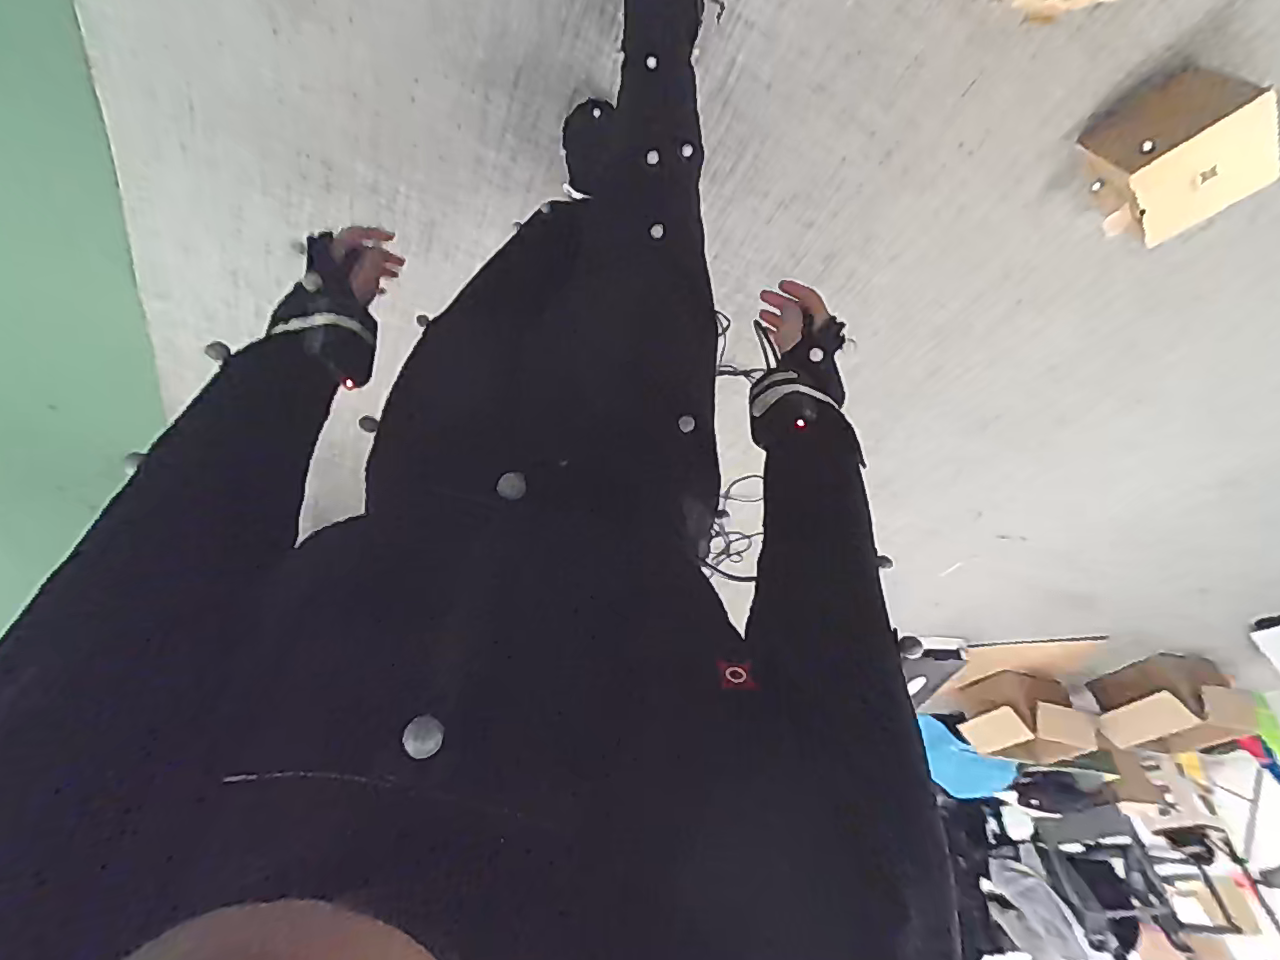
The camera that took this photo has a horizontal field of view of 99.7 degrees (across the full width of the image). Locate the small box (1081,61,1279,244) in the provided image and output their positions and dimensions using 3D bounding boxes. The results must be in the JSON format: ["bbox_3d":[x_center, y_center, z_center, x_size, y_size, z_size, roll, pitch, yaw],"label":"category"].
[{"bbox_3d":[0.892,-0.545,0.900,0.179,0.176,0.168,-31,129,32],"label":"small box"}]
